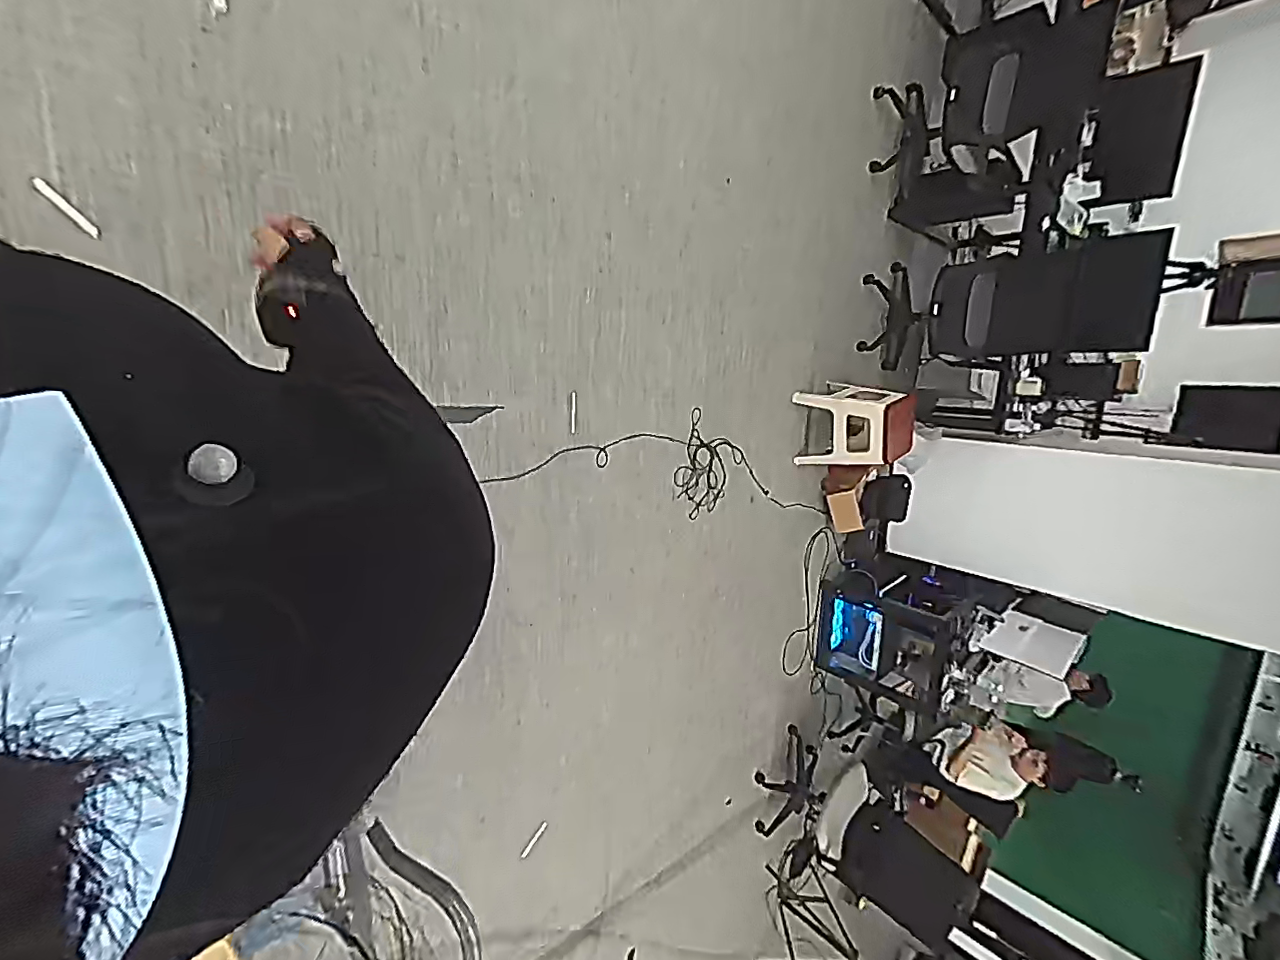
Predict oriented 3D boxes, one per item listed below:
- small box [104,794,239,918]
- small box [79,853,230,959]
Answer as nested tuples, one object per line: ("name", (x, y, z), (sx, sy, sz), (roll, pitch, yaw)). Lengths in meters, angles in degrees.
("small box", (-0.905, 0.765, 1.051), (0.168, 0.176, 0.179), (-15, 108, -41))
("small box", (-0.812, 0.795, 0.916), (0.168, 0.176, 0.179), (-14, 108, -41))
